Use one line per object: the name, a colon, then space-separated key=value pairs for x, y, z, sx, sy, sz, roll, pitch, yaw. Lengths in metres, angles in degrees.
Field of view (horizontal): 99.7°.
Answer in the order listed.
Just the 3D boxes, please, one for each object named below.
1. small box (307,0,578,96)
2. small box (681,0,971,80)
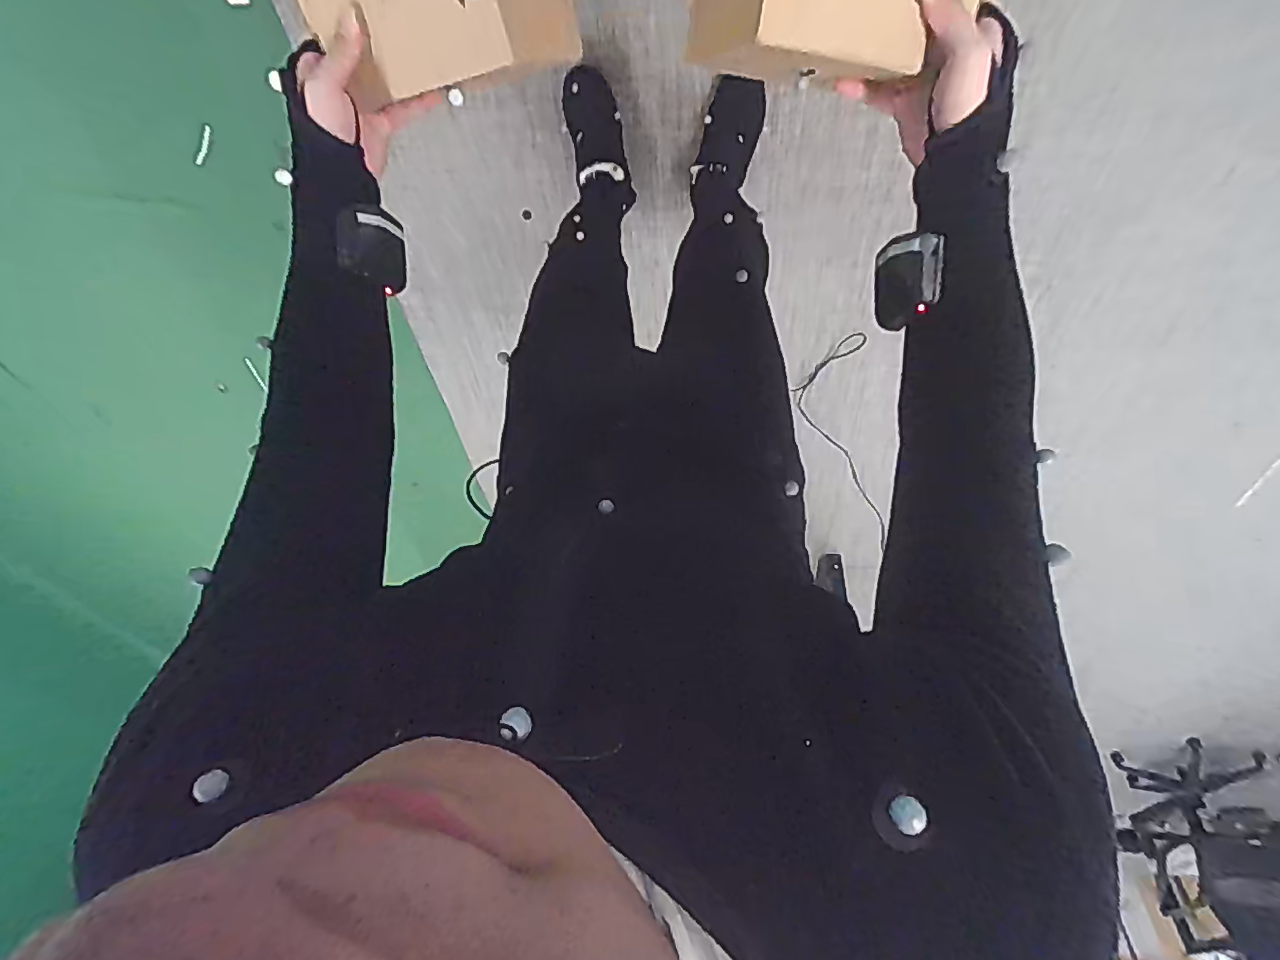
small box: x=-0.178 y=-0.457 z=0.475 sx=0.179 sy=0.176 sz=0.168 roll=0 pitch=128 yaw=20
small box: x=0.148 y=-0.429 z=0.422 sx=0.179 sy=0.176 sz=0.168 roll=-1 pitch=121 yaw=-14
